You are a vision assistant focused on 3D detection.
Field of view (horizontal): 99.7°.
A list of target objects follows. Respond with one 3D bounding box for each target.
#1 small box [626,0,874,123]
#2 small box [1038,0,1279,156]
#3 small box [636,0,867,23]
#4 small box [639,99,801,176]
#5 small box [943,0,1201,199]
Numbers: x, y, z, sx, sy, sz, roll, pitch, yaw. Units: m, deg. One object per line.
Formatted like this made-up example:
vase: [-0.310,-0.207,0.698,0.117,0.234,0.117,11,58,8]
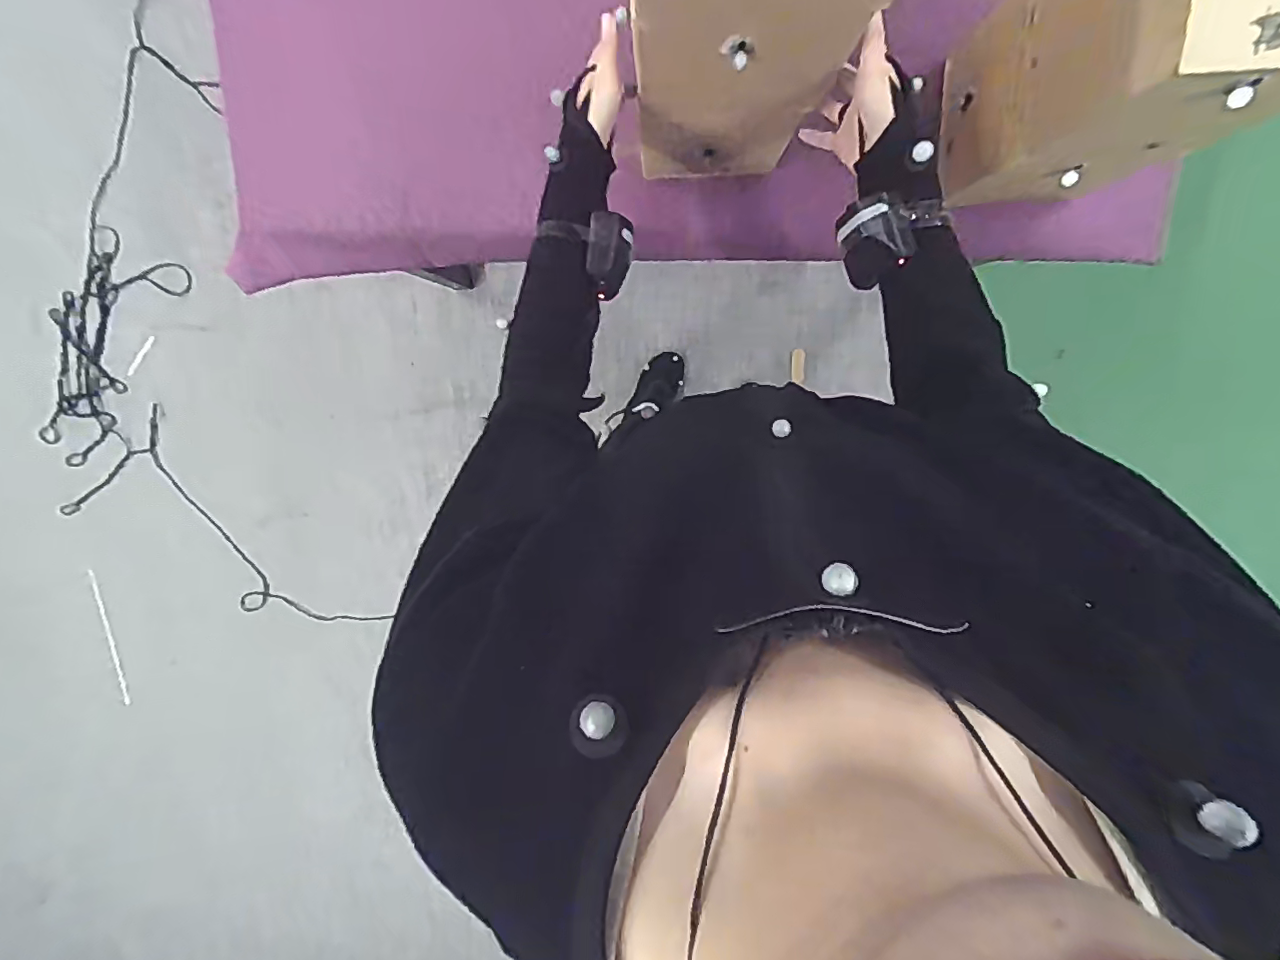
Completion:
small box: [0.080,-0.420,0.445,0.179,0.176,0.168,-1,102,3]
small box: [0.455,-0.387,0.427,0.168,0.176,0.179,-1,102,6]
small box: [0.074,-0.384,0.285,0.179,0.176,0.168,-2,103,4]
small box: [0.085,-0.458,0.603,0.168,0.176,0.179,-1,101,4]
small box: [0.464,-0.420,0.588,0.179,0.176,0.168,-2,103,6]
